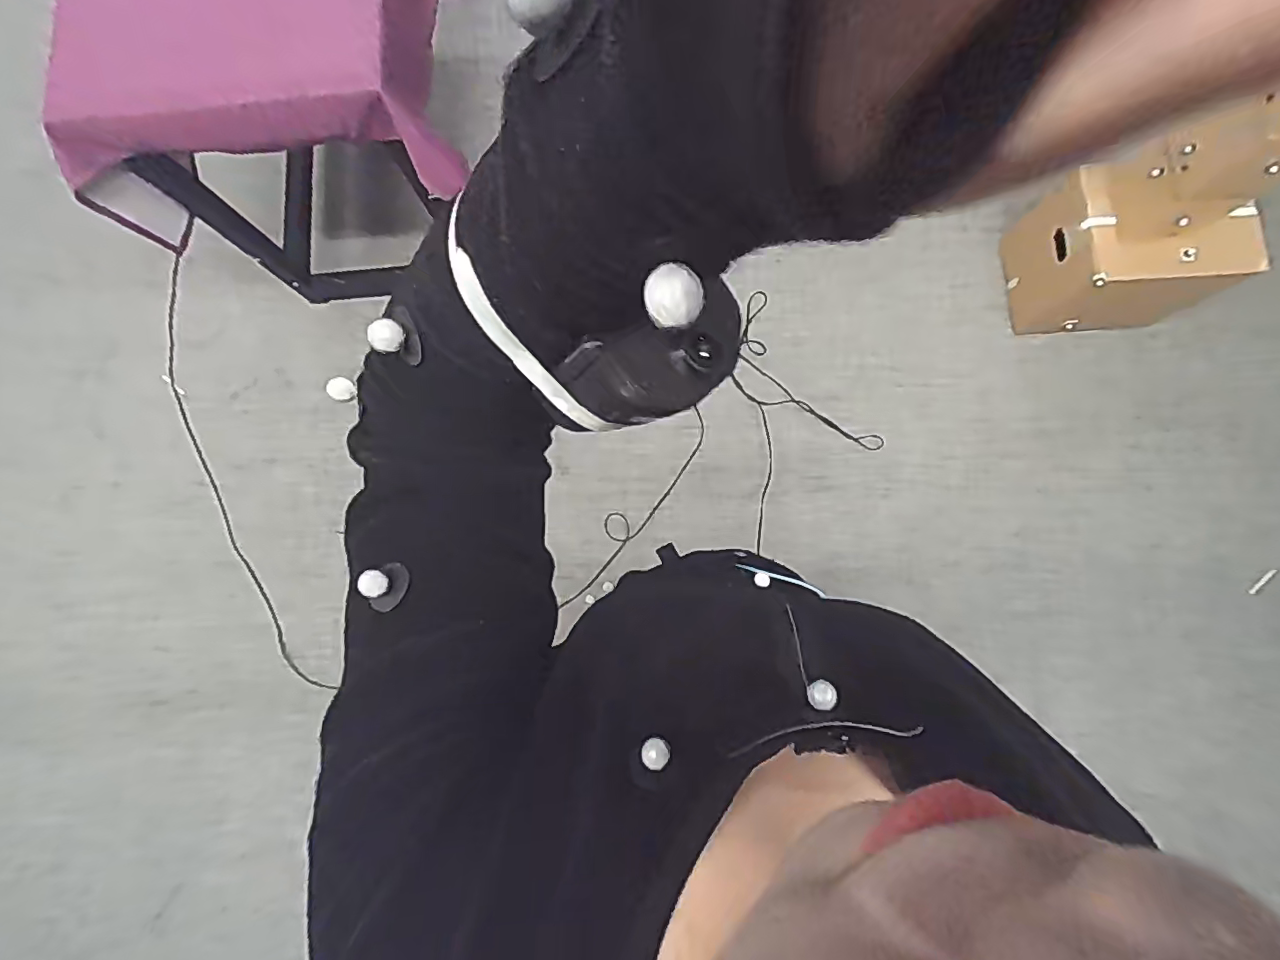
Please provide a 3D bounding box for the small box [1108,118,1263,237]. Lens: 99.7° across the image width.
[{"bbox_3d":[1.225,-0.674,1.228,0.168,0.176,0.179,-4,80,1],"label":"small box"}]
